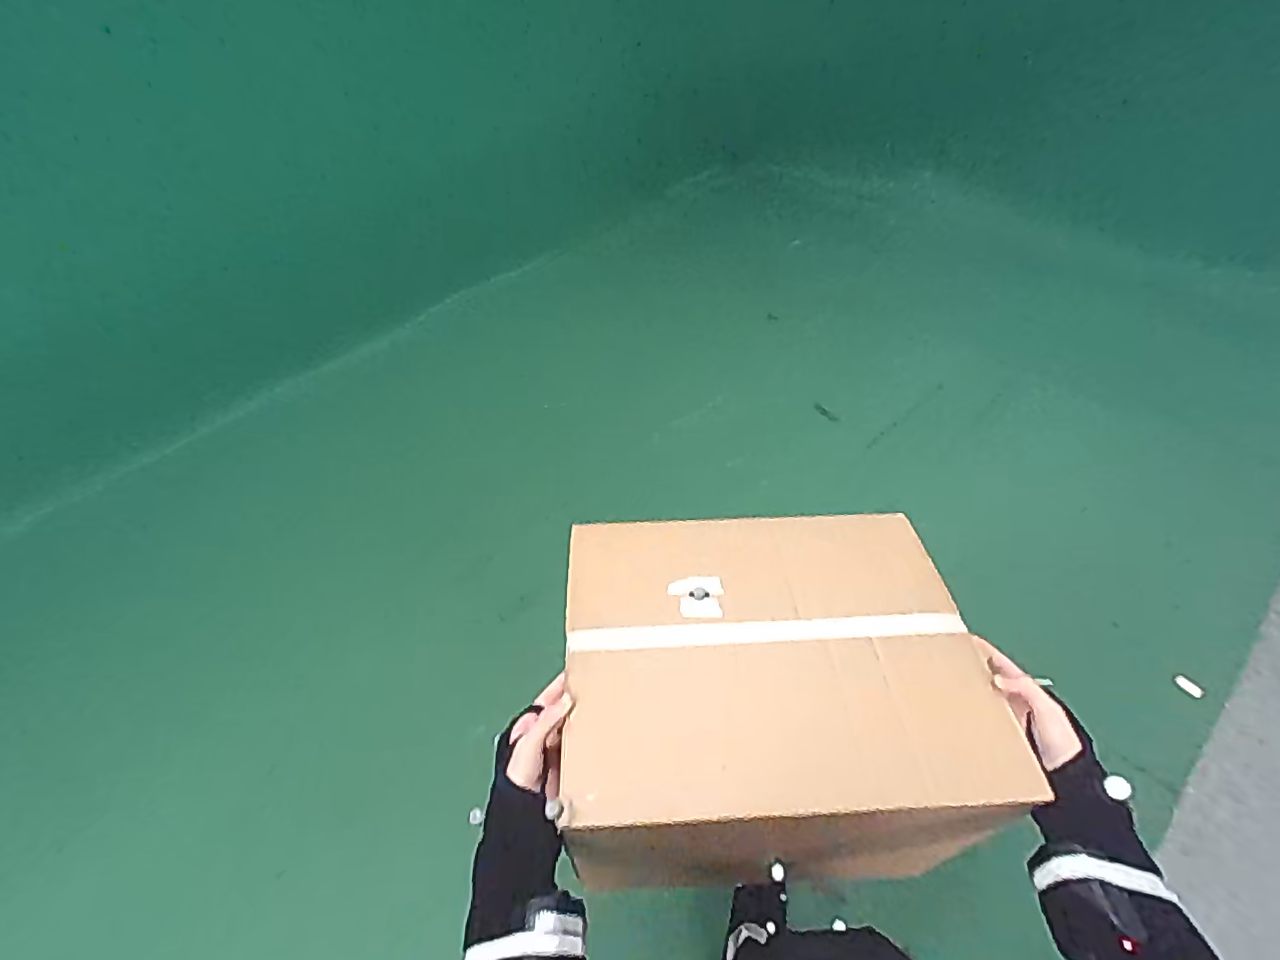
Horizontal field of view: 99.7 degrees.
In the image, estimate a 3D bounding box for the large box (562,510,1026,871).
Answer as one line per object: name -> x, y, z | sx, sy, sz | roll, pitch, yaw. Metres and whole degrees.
large box -> 0.128, 0.259, 0.660 | 0.408, 0.320, 0.320 | -2, 45, -1
